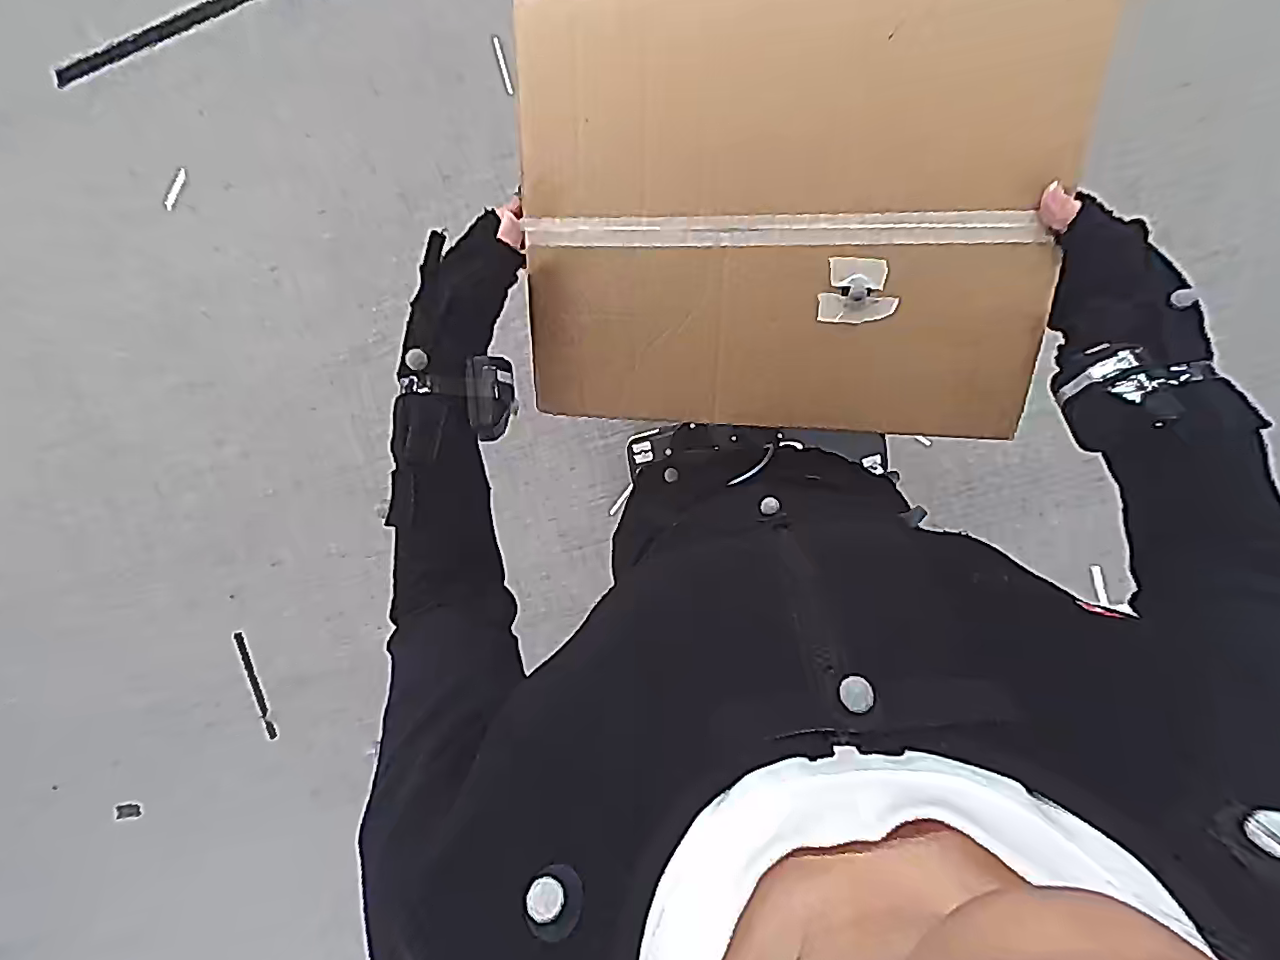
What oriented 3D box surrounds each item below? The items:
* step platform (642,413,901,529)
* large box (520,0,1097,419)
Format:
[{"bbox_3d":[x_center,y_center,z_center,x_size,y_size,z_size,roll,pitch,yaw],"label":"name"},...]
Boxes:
[{"bbox_3d":[0.351,-0.084,1.511,0.684,0.204,0.286,-16,96,7],"label":"step platform"},{"bbox_3d":[0.129,-0.251,0.564,0.408,0.320,0.320,3,111,10],"label":"large box"}]
